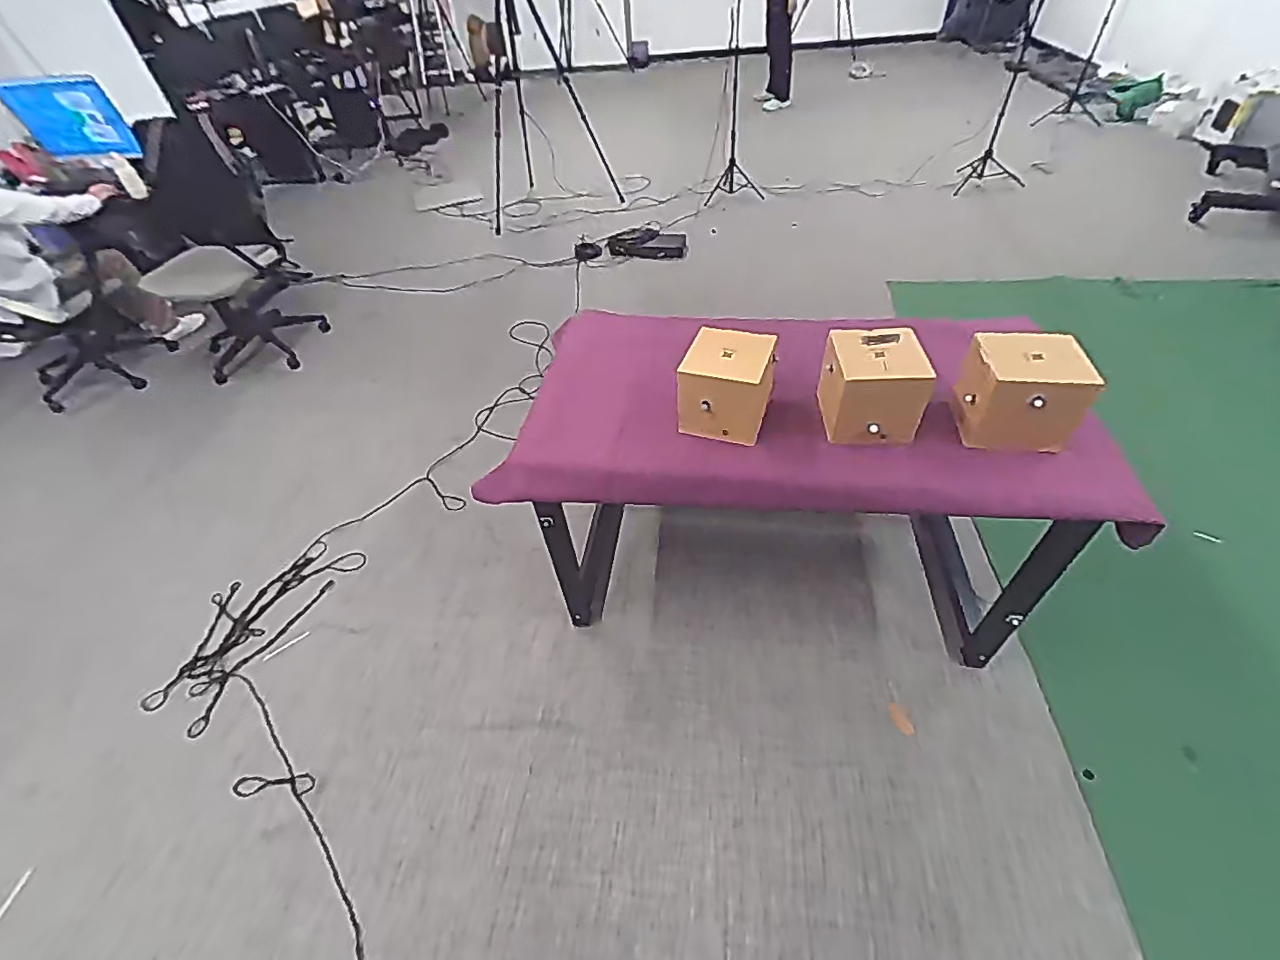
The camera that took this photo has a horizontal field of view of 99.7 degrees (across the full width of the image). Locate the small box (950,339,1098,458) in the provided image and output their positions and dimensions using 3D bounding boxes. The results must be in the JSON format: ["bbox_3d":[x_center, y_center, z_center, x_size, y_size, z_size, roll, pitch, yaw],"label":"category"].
[{"bbox_3d":[0.734,-0.160,1.064,0.179,0.176,0.168,6,46,11],"label":"small box"}]

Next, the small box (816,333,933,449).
[{"bbox_3d":[0.469,-0.184,1.114,0.168,0.176,0.179,0,46,6],"label":"small box"}]

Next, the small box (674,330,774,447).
[{"bbox_3d":[0.181,-0.194,1.152,0.168,0.176,0.179,13,47,18],"label":"small box"}]
